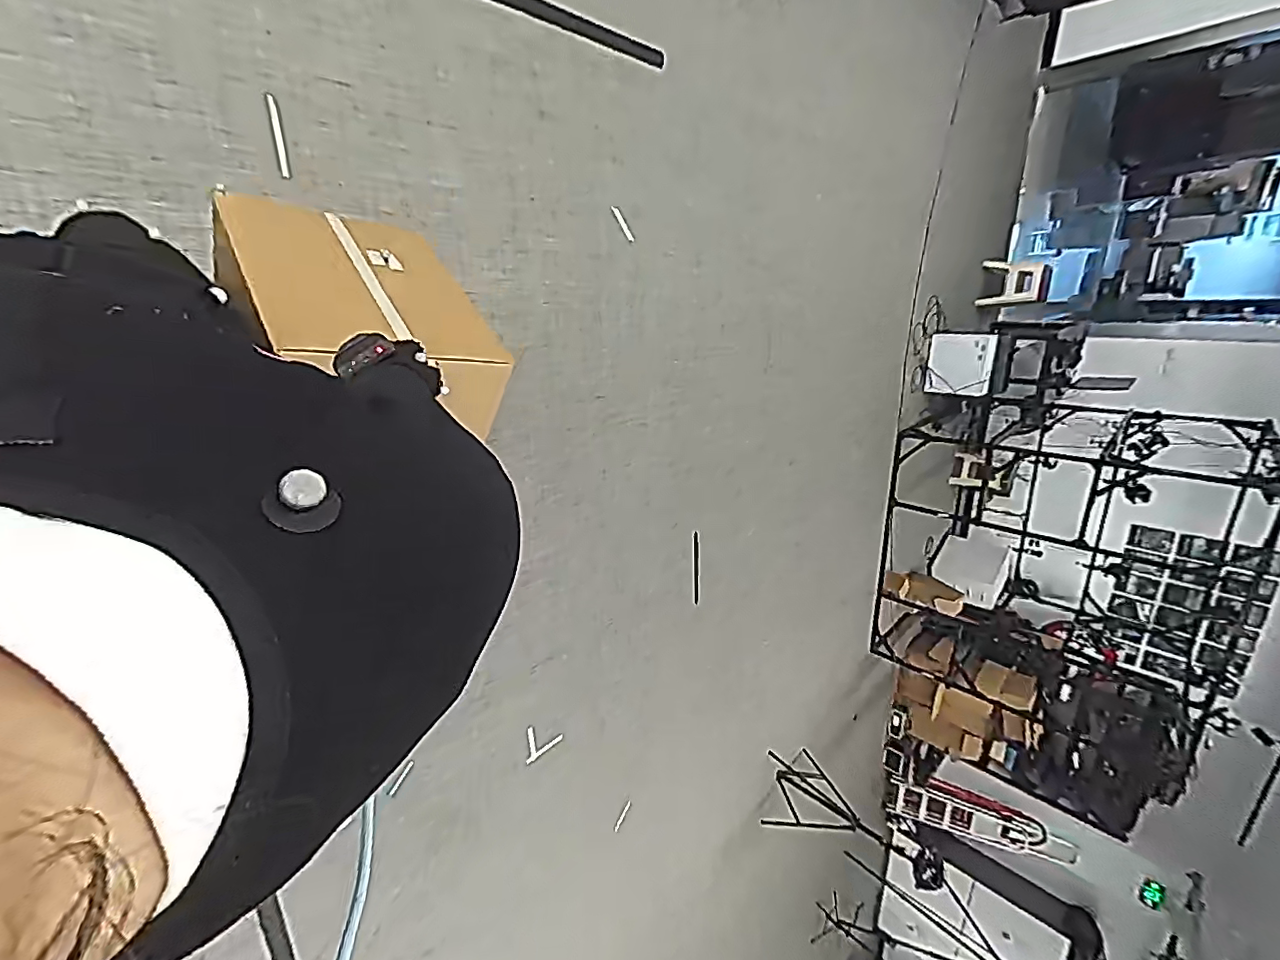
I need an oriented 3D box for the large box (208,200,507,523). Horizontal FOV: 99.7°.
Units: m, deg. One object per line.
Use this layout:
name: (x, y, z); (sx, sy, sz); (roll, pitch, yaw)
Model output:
large box: (-0.486, -0.190, 0.899); (0.320, 0.408, 0.320); (-7, 138, -46)
